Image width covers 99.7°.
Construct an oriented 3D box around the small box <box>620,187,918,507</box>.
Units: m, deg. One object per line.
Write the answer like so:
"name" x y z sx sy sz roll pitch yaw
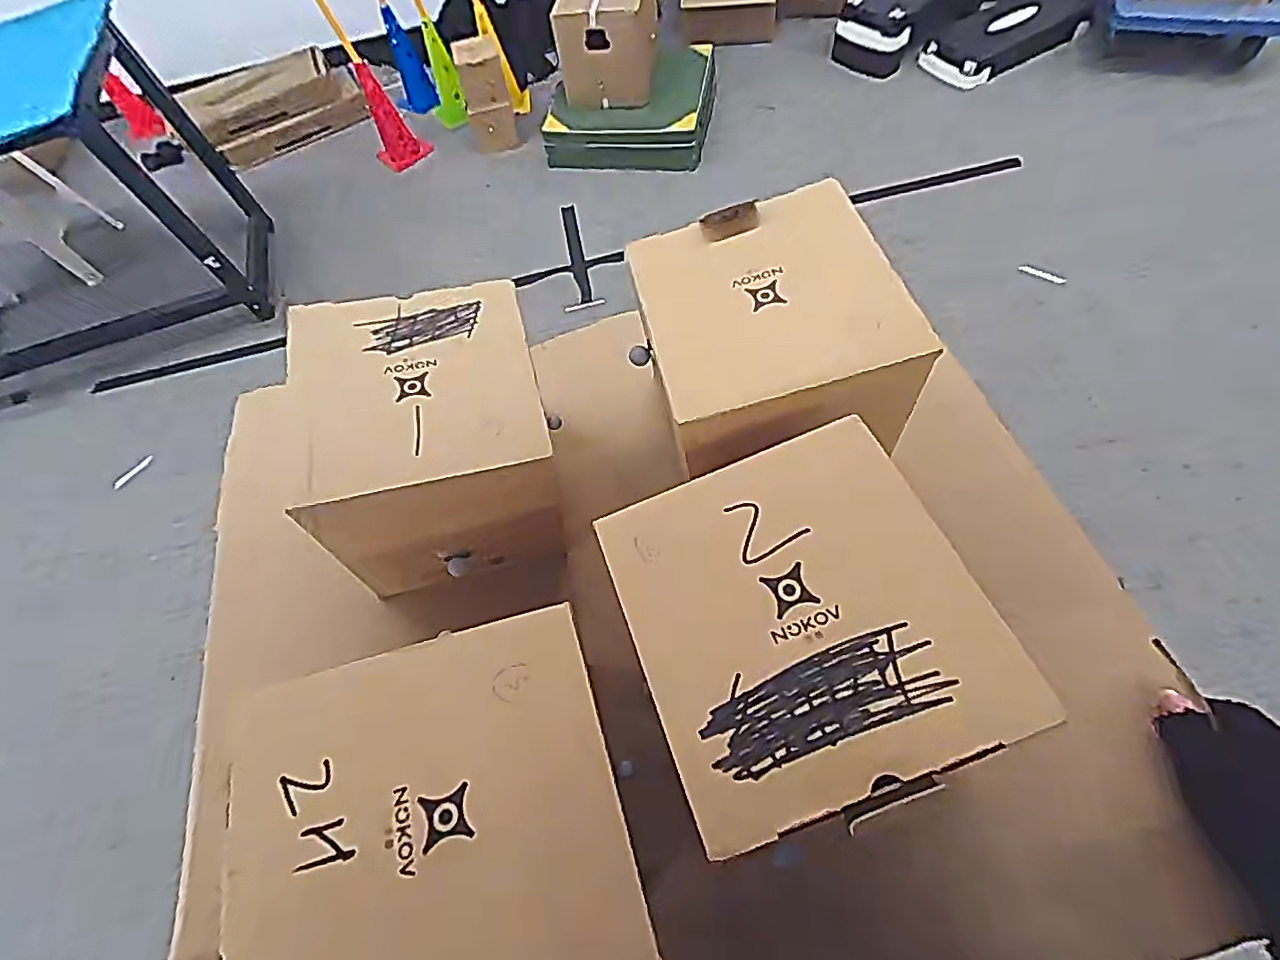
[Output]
"small box" 0.095 -0.093 0.447 0.168 0.176 0.179 -16 60 4
